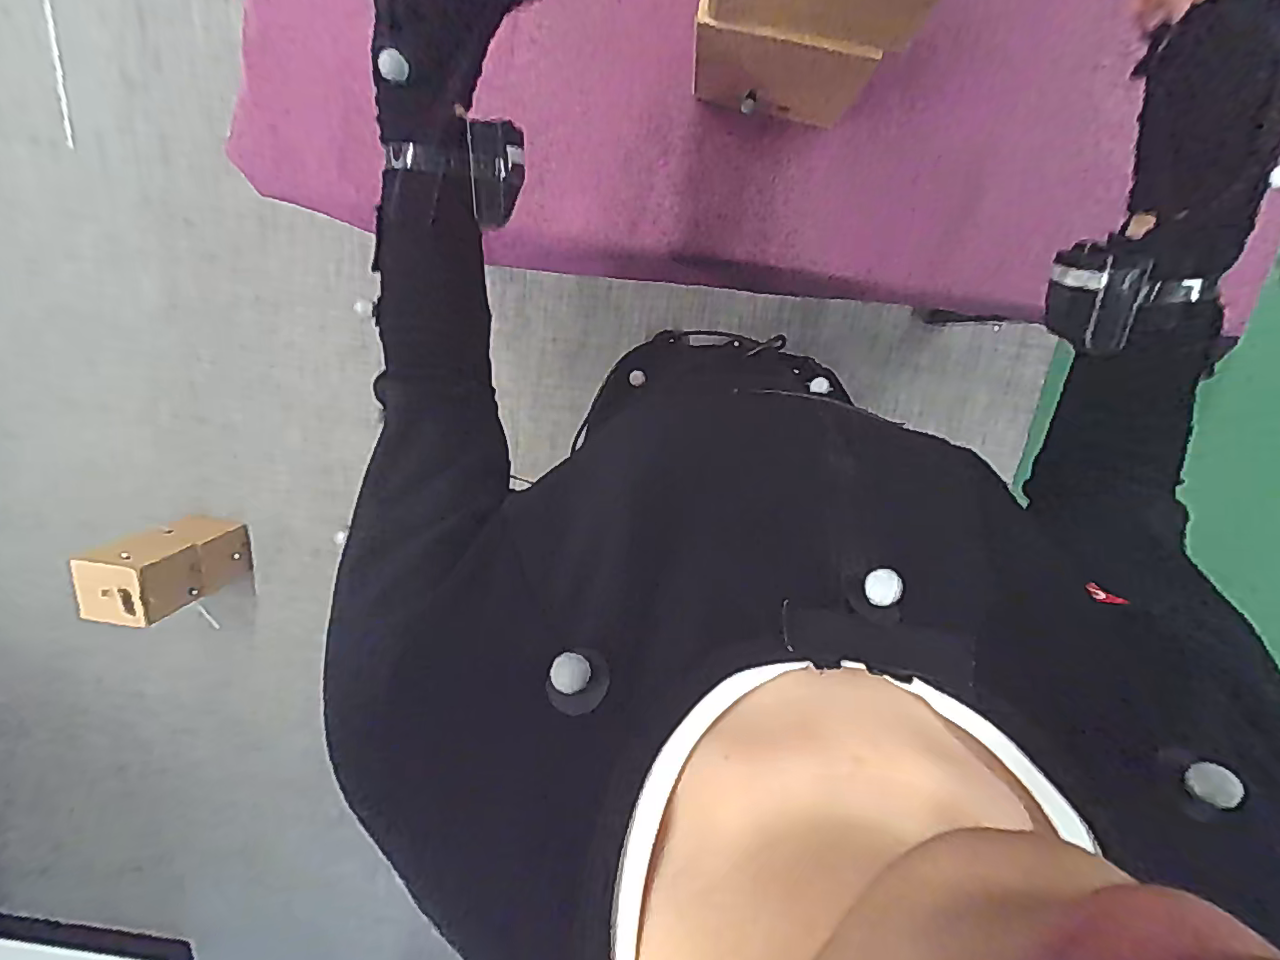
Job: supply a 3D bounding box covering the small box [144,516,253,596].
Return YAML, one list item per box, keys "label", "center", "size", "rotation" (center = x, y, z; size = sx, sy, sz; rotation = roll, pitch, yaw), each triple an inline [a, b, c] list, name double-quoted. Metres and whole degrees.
- label: "small box"
  center: [-1.271, 0.214, 1.567]
  size: [0.179, 0.176, 0.168]
  rotation: [8, 106, 2]

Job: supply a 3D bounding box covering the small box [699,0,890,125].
- label: "small box"
  center: [0.154, -0.479, 0.515]
  size: [0.168, 0.176, 0.179]
  rotation: [13, 106, 1]

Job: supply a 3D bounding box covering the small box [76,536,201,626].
- label: "small box"
  center: [-1.290, 0.257, 1.410]
  size: [0.179, 0.176, 0.168]
  rotation: [7, 106, 3]

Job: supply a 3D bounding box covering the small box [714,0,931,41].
- label: "small box"
  center: [0.148, -0.437, 0.359]
  size: [0.179, 0.176, 0.168]
  rotation: [12, 106, 1]
